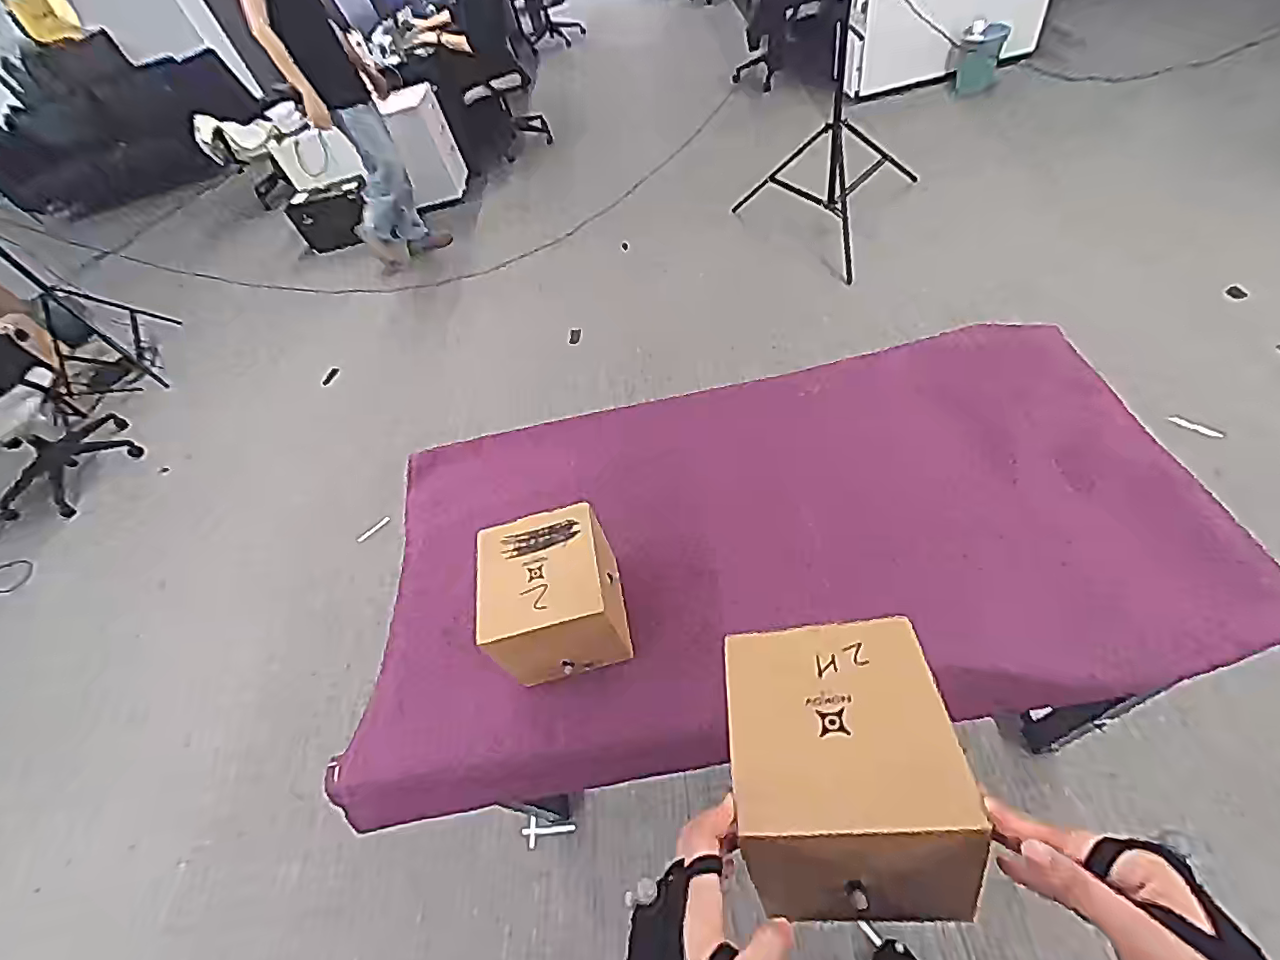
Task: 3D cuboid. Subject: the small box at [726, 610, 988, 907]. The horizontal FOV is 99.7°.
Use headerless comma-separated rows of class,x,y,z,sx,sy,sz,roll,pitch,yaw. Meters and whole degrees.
small box,0.173,0.242,0.470,0.168,0.176,0.179,-9,34,12
